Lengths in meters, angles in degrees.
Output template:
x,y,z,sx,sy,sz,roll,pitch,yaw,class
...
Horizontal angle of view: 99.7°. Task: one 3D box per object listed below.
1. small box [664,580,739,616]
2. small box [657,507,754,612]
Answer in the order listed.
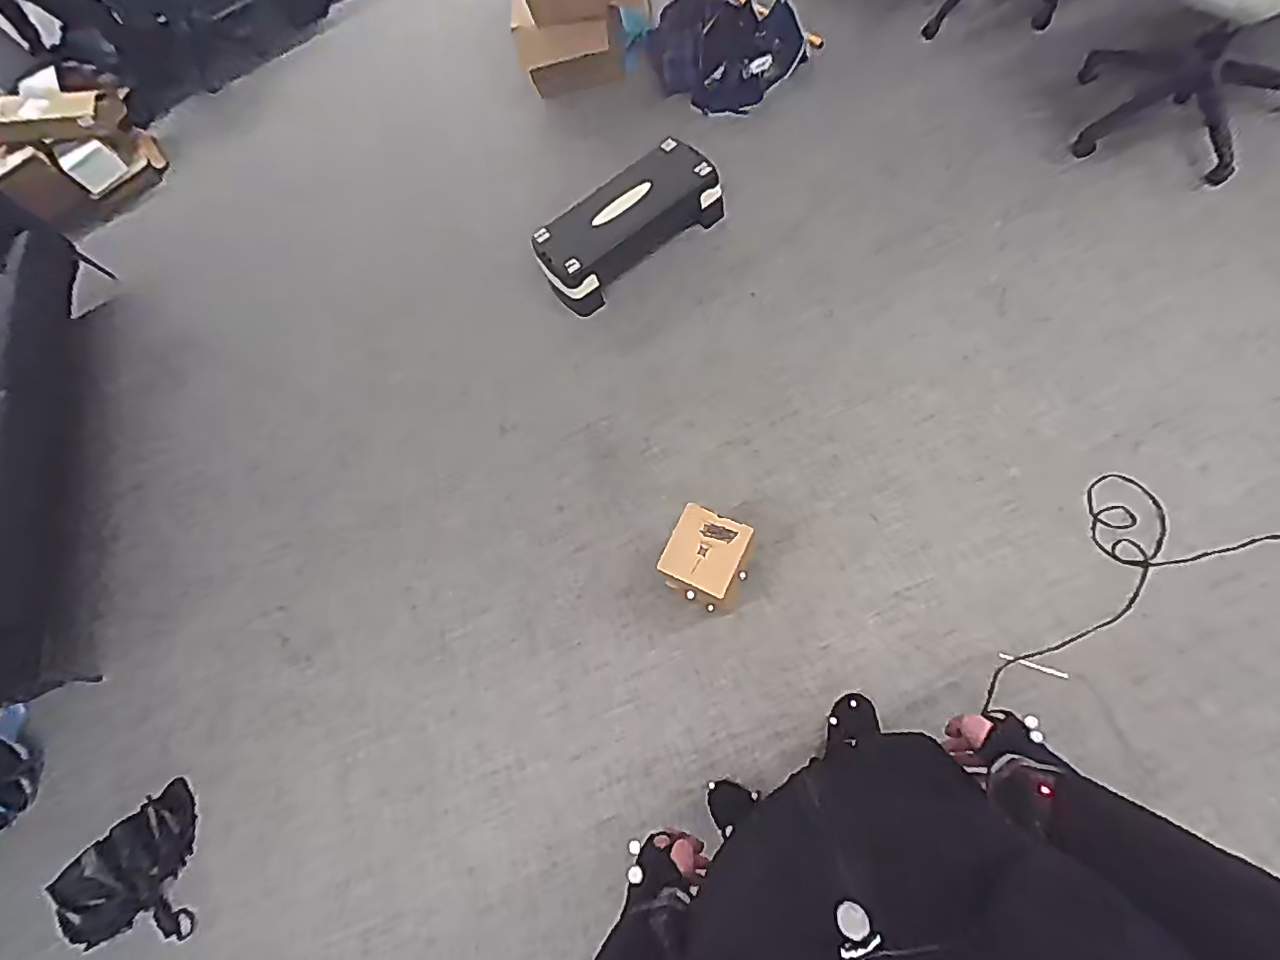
x,y,z,sx,sy,sz,roll,pitch,yaw,class
0.181,0.248,1.443,0.168,0.176,0.179,15,71,18,small box
0.161,0.193,1.288,0.168,0.176,0.179,23,76,21,small box
